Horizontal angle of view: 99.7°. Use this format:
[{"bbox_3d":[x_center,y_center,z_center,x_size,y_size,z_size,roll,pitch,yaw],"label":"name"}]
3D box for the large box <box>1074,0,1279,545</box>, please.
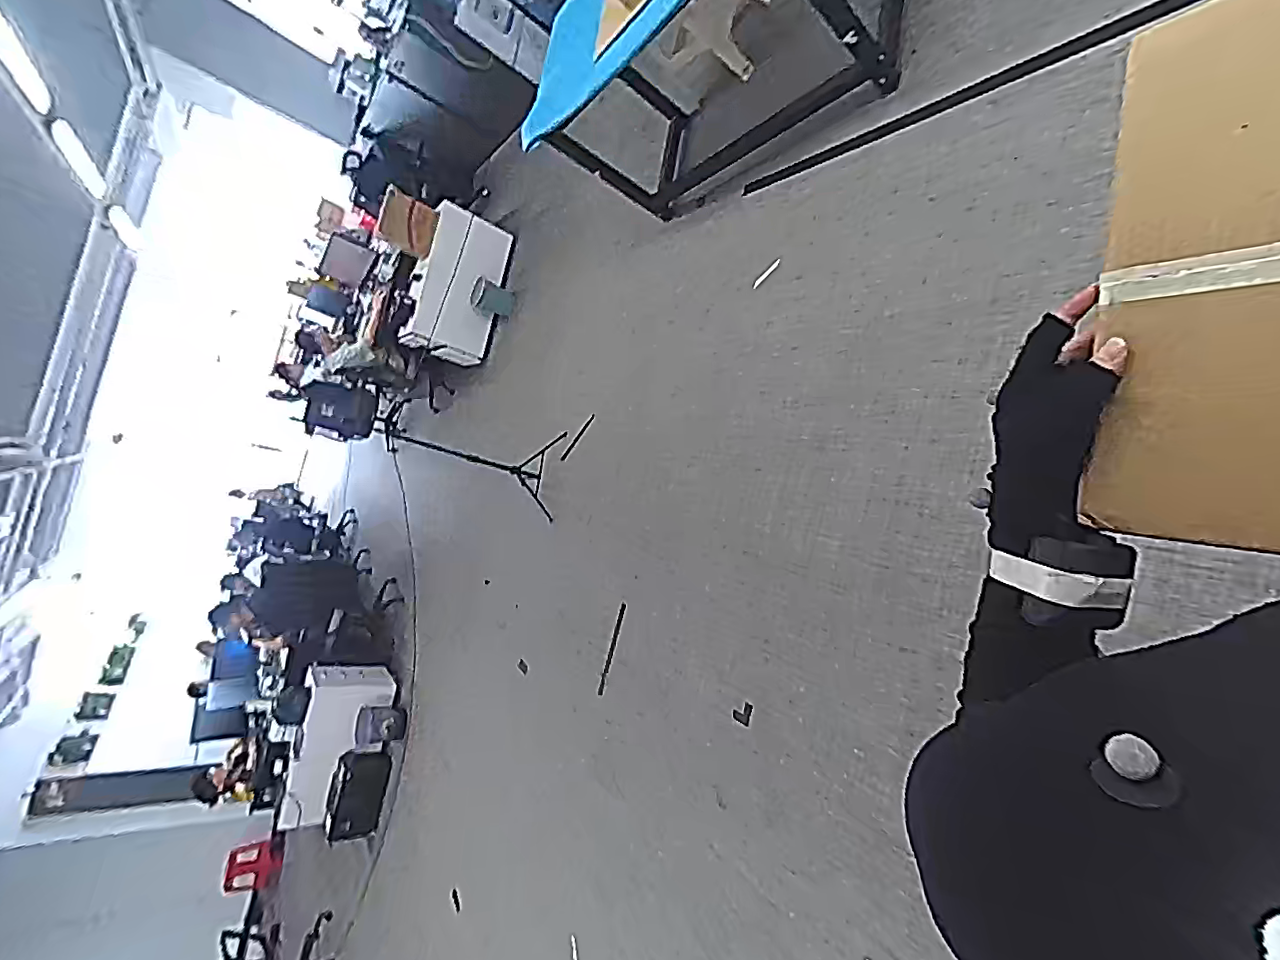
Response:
[{"bbox_3d":[0.544,-0.109,0.290,0.408,0.320,0.320,8,95,54],"label":"large box"}]
